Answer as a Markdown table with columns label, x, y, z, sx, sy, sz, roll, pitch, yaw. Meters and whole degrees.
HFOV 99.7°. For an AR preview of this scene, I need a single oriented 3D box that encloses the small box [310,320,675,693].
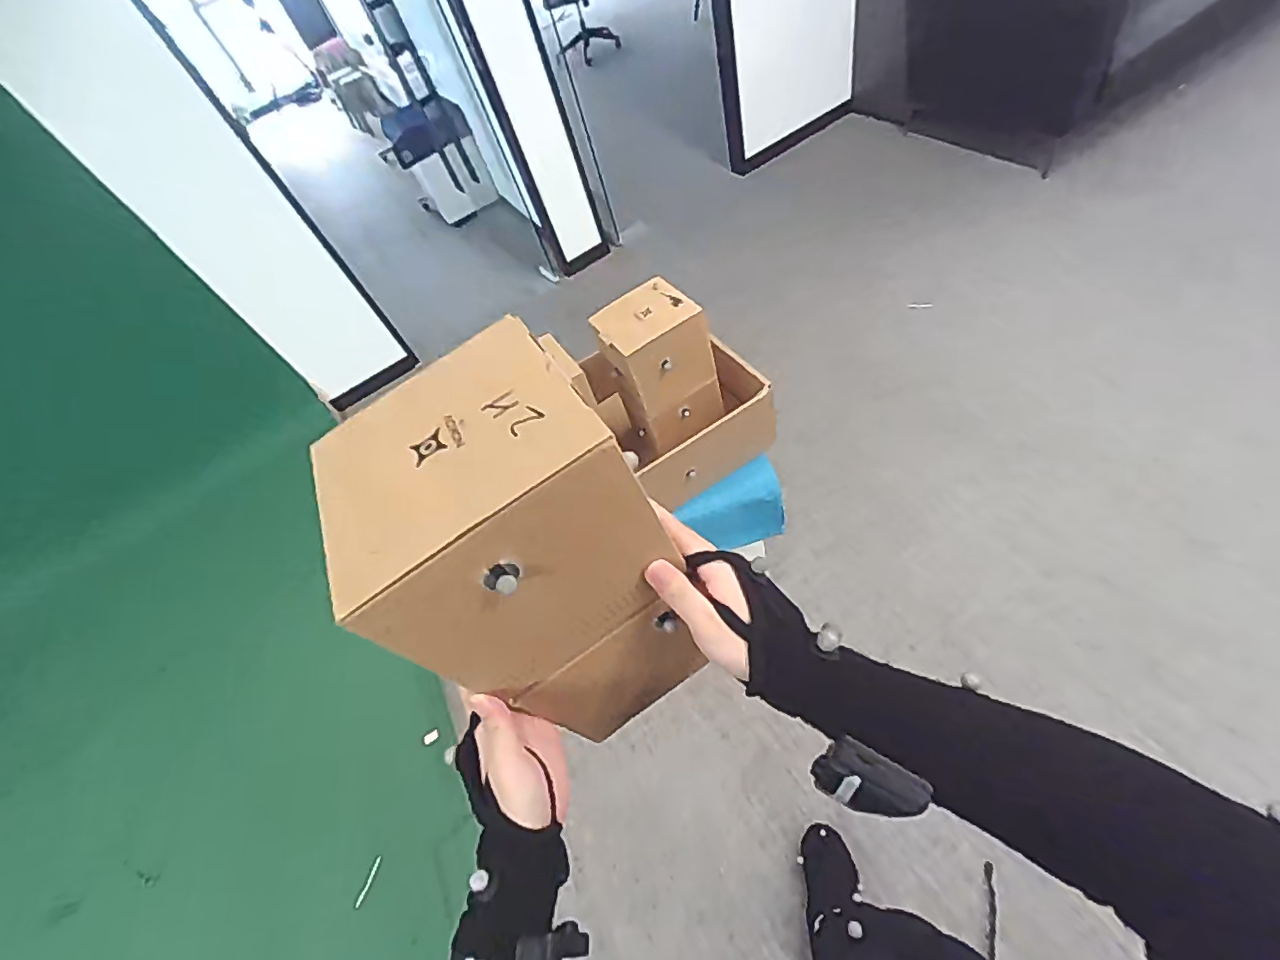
| label | x | y | z | sx | sy | sz | roll | pitch | yaw |
| --- | --- | --- | --- | --- | --- | --- | --- | --- | --- |
| small box | -0.100 | 0.025 | 0.396 | 0.179 | 0.176 | 0.168 | -34 | 49 | -5 |

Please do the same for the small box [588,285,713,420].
| label | x | y | z | sx | sy | sz | roll | pitch | yaw |
| --- | --- | --- | --- | --- | --- | --- | --- | --- | --- |
| small box | 0.026 | -0.253 | 1.096 | 0.179 | 0.176 | 0.168 | -34 | 51 | -6 |

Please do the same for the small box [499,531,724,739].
| label | x | y | z | sx | sy | sz | roll | pitch | yaw |
| --- | --- | --- | --- | --- | --- | --- | --- | --- | --- |
| small box | -0.043 | 0.120 | 0.527 | 0.179 | 0.176 | 0.168 | -34 | 49 | -5 |
